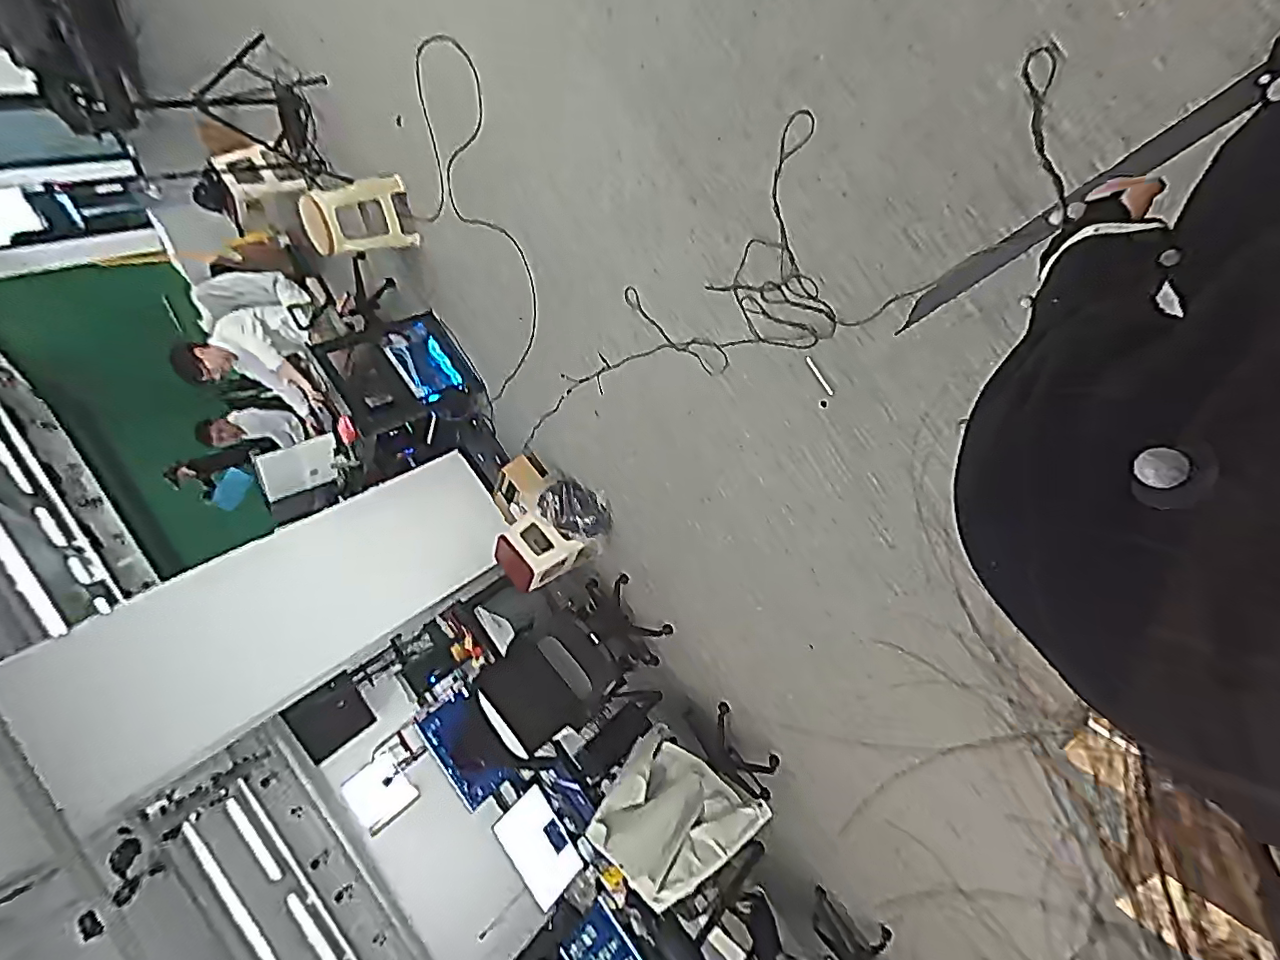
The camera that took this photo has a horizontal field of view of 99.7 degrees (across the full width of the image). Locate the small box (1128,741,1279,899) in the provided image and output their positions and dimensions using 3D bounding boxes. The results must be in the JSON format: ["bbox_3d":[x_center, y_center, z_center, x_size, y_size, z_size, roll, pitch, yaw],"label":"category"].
[{"bbox_3d":[1.136,0.668,1.078,0.179,0.176,0.168,30,136,34],"label":"small box"}]
